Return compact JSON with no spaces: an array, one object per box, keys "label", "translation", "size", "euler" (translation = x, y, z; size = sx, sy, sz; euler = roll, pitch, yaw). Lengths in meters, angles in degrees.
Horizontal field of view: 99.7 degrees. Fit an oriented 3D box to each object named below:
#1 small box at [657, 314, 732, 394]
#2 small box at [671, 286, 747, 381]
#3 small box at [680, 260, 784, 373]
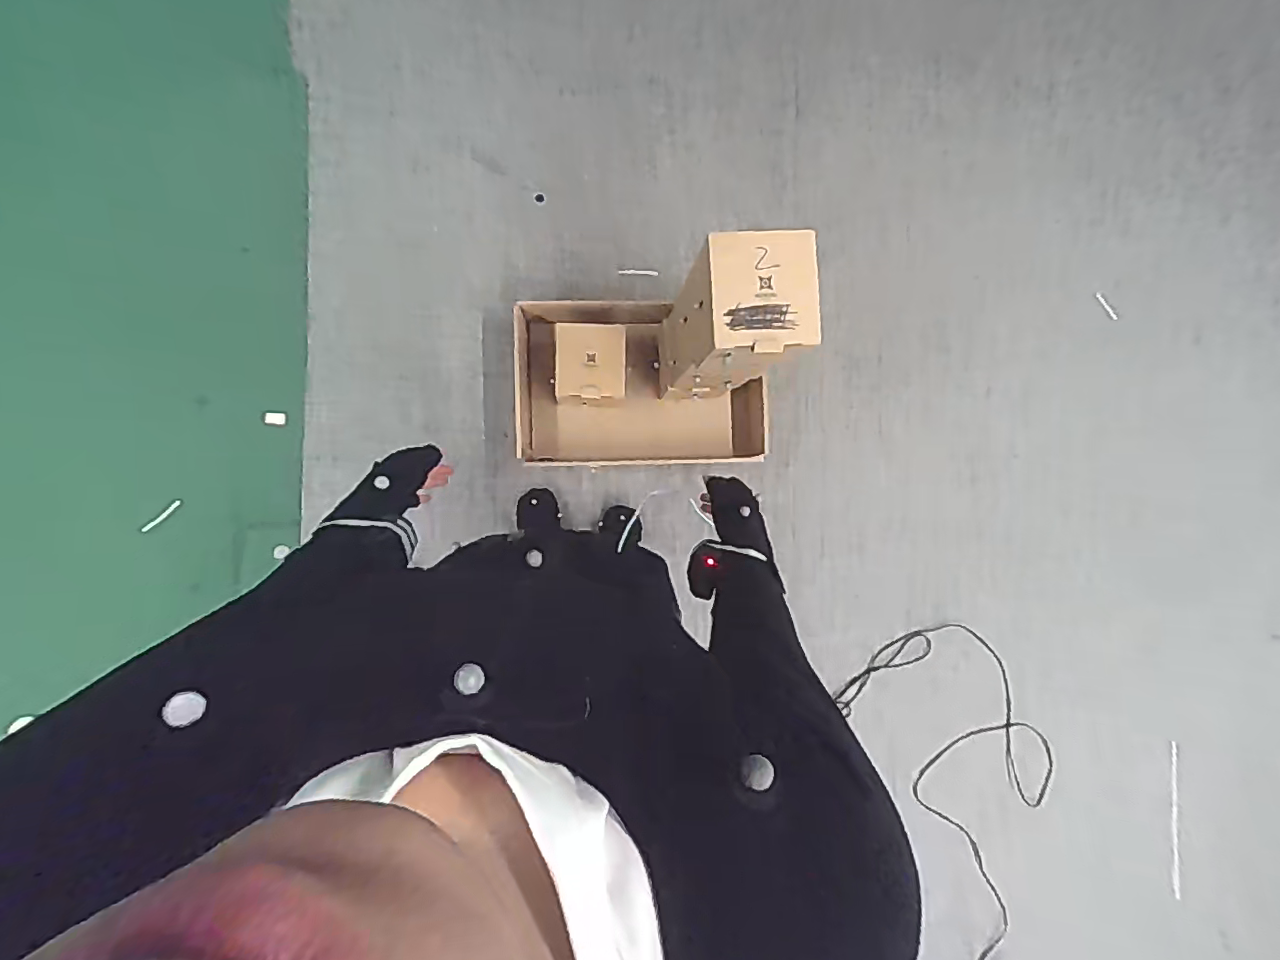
[{"label":"small box","translation":[0.135,-0.317,1.375],"size":[0.168,0.176,0.179],"euler":[-5,91,-3]},{"label":"small box","translation":[0.162,-0.316,1.195],"size":[0.168,0.176,0.179],"euler":[-1,91,-4]},{"label":"small box","translation":[0.171,-0.307,1.049],"size":[0.168,0.176,0.179],"euler":[0,91,-5]}]
